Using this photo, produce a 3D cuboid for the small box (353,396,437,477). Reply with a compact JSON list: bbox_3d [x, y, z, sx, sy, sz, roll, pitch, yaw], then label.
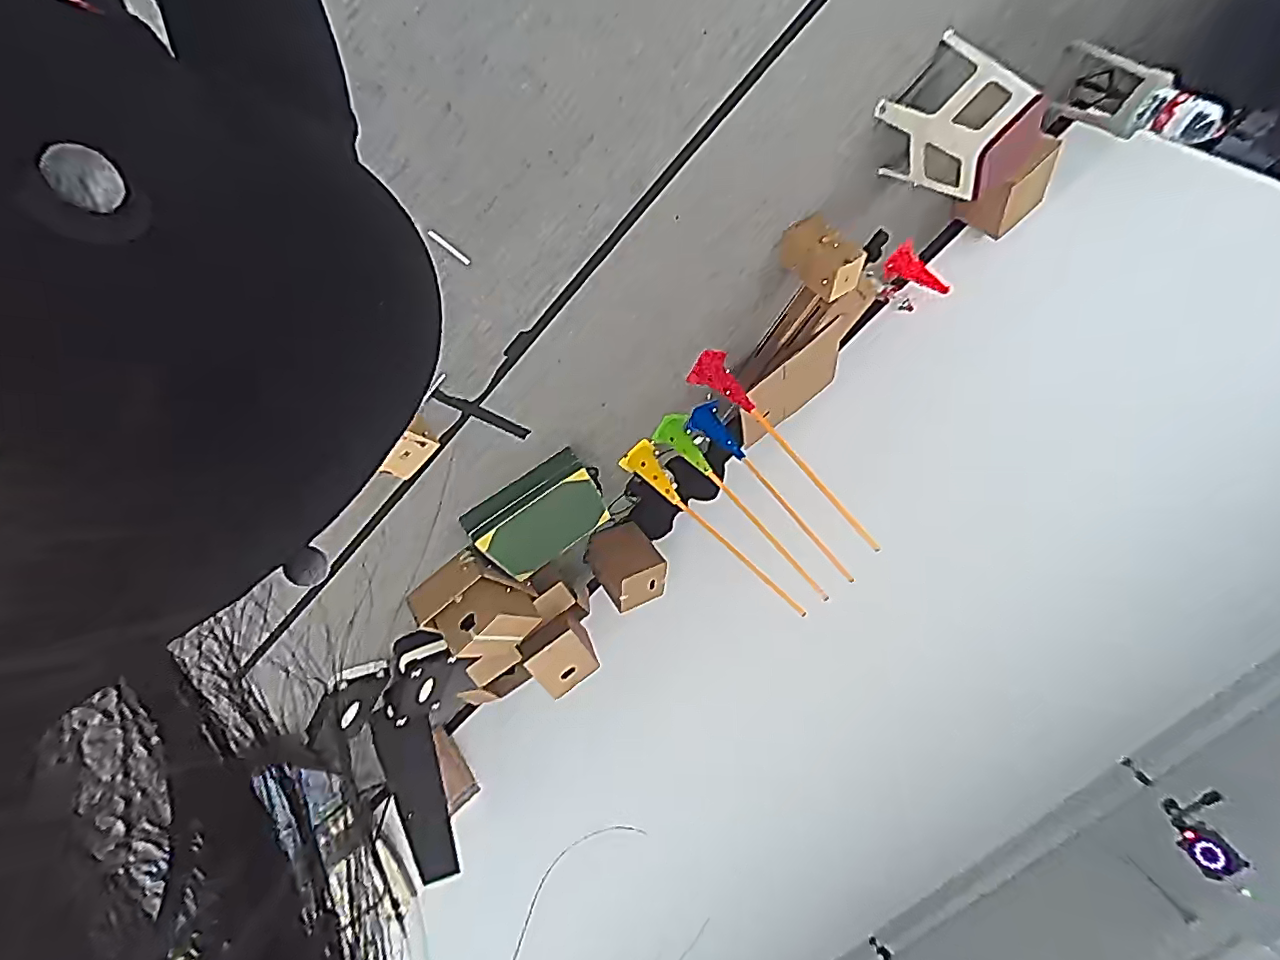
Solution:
[{"bbox_3d":[-0.813,-0.142,1.781,0.179,0.176,0.168,-43,154,8],"label":"small box"}]
